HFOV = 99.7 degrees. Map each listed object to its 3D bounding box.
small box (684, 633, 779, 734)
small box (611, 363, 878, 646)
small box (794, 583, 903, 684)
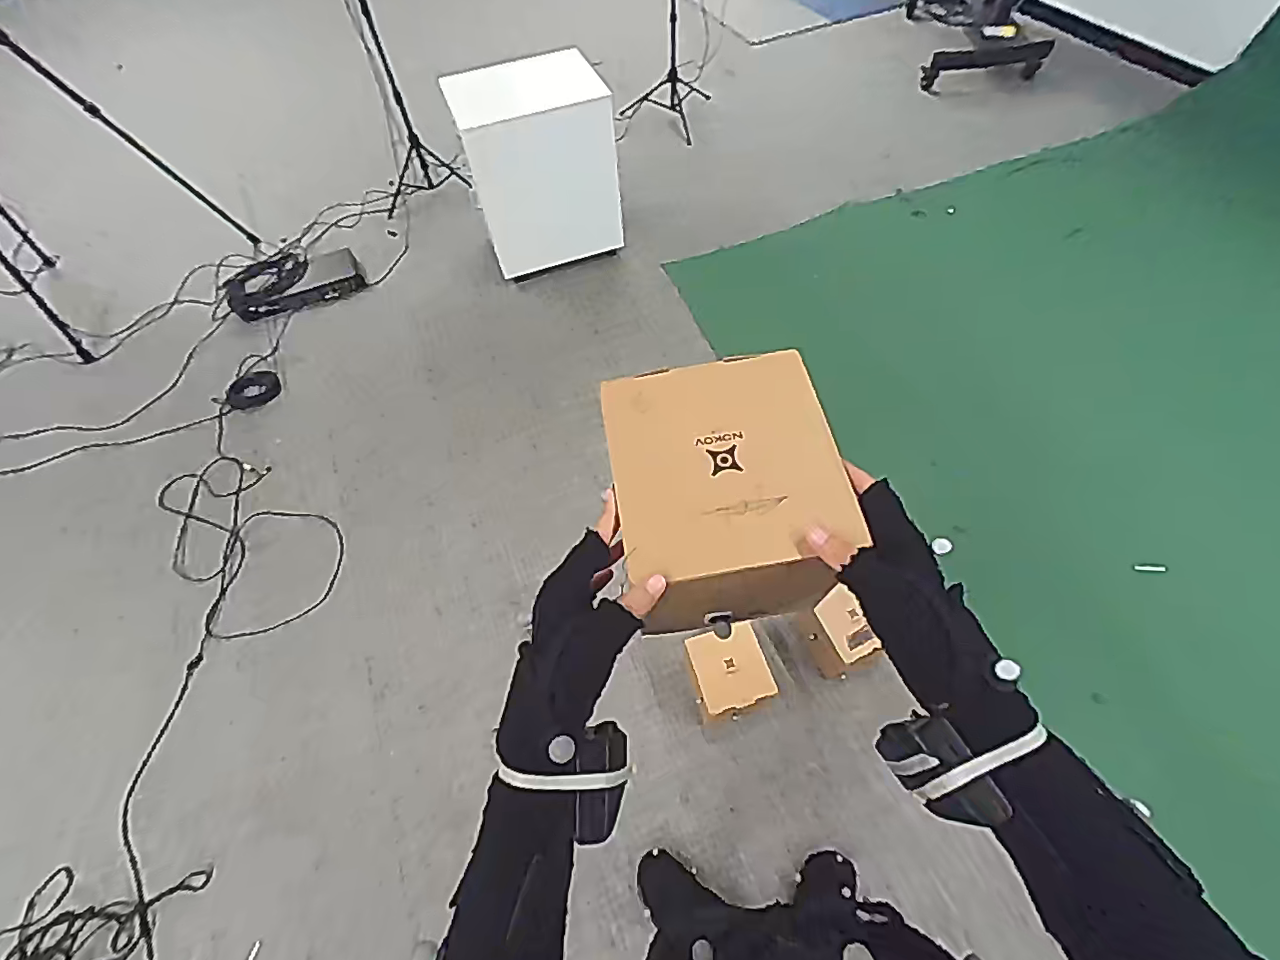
[{"bbox_3d":[0.209,0.487,1.296,0.168,0.176,0.179,-16,59,-8],"label":"small box"},{"bbox_3d":[0.070,0.029,0.467,0.168,0.176,0.179,-9,62,-1],"label":"small box"},{"bbox_3d":[0.508,0.389,1.344,0.168,0.176,0.179,-20,58,-10],"label":"small box"}]
